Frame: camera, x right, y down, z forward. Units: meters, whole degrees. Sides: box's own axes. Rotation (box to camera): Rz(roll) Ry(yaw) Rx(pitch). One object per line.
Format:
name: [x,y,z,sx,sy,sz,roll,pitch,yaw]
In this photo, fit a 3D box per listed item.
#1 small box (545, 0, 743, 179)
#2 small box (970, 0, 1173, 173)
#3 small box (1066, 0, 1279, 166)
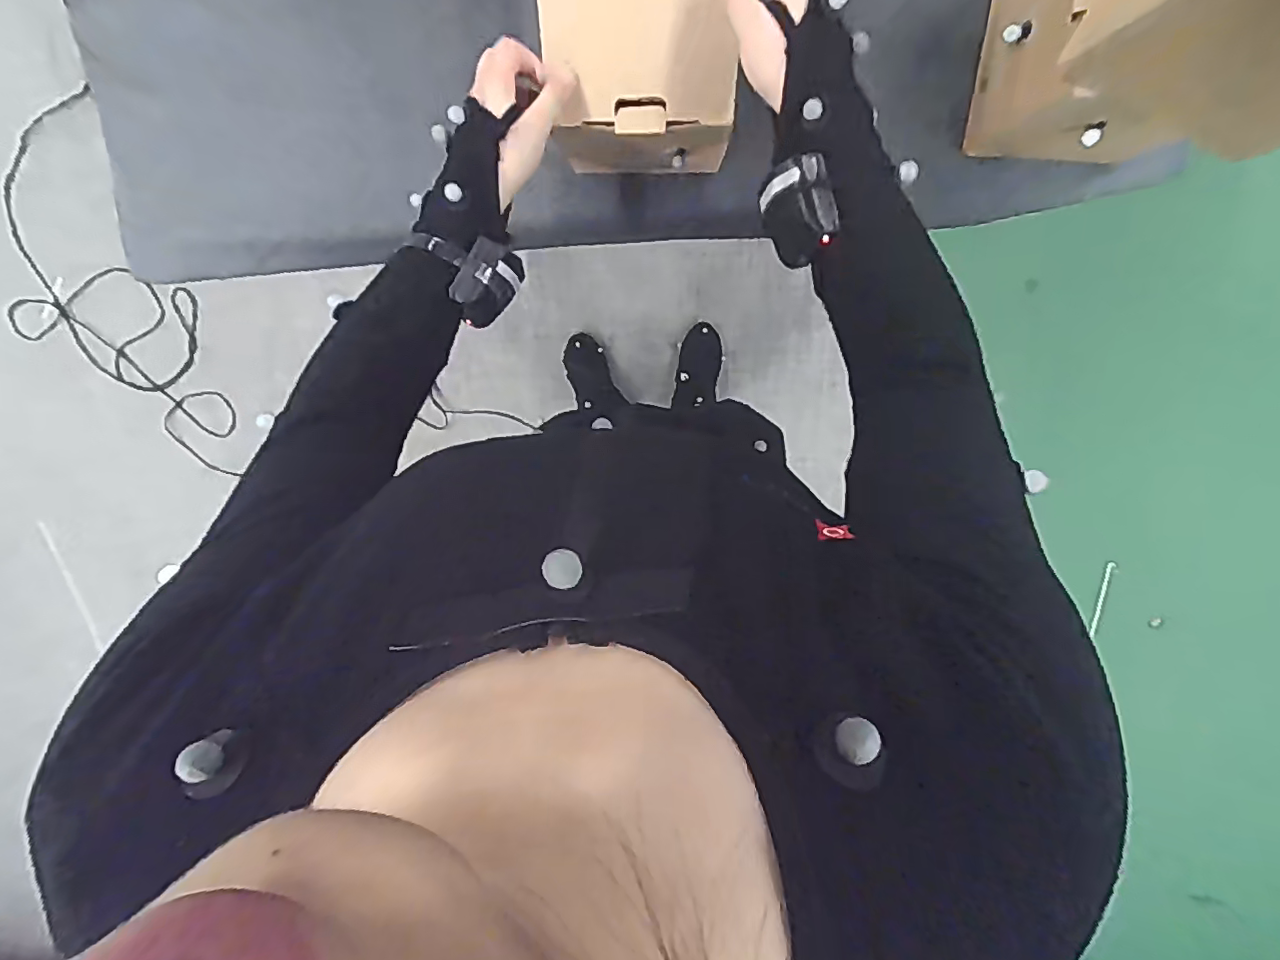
small box: [0.006,-0.402,0.520,0.168,0.176,0.179,1,107,2]
small box: [0.443,-0.397,0.497,0.179,0.176,0.168,4,107,2]
small box: [0.440,-0.335,0.345,0.179,0.176,0.168,24,106,-5]
